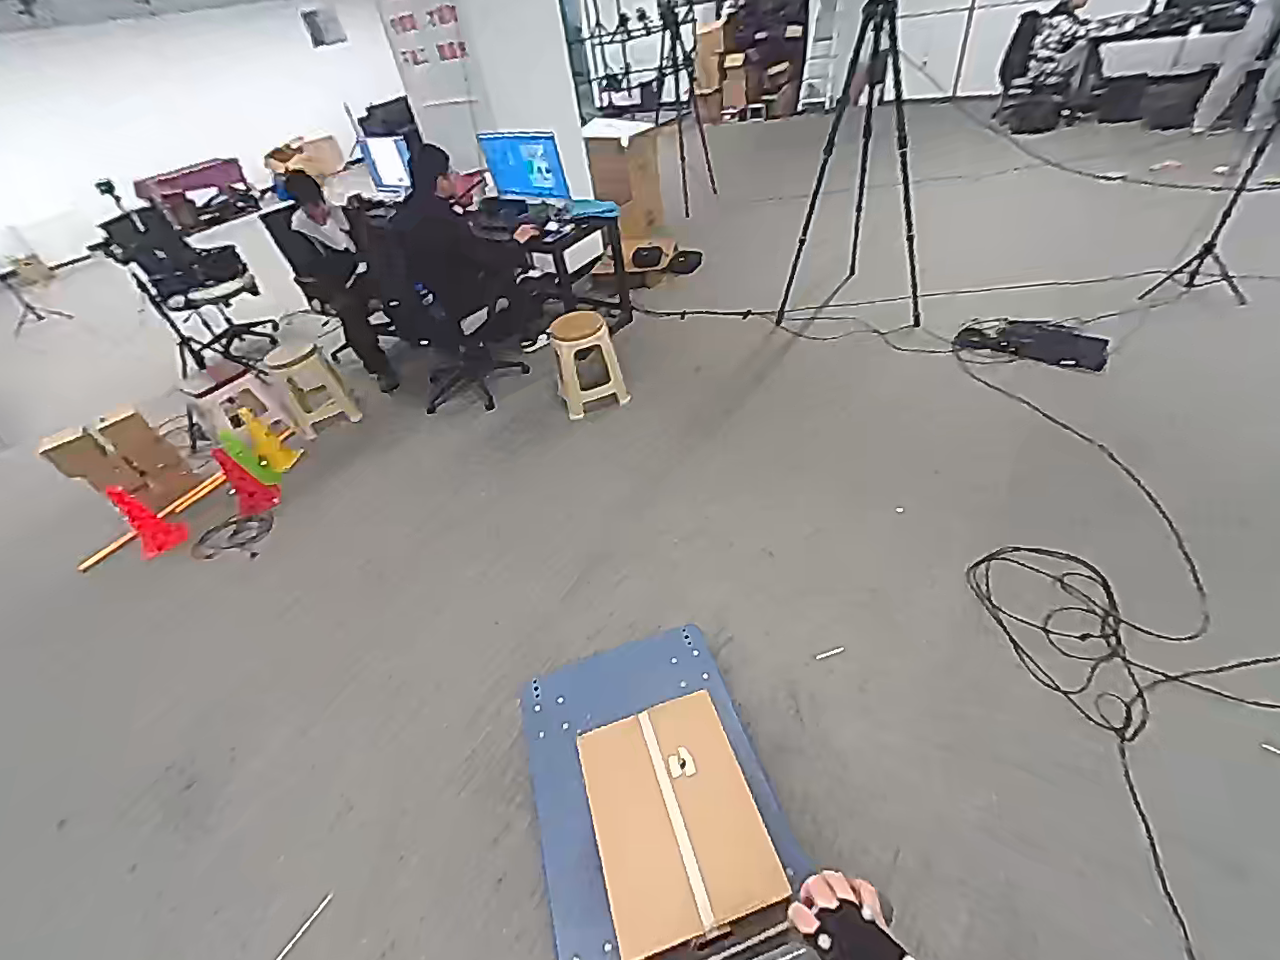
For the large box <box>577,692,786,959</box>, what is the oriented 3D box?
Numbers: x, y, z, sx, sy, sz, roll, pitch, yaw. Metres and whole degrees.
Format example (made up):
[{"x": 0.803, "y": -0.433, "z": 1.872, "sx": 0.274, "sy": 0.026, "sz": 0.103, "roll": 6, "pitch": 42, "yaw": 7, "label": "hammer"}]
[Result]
[{"x": 0.084, "y": 0.762, "z": 1.176, "sx": 0.320, "sy": 0.320, "sz": 0.408, "roll": -17, "pitch": 40, "yaw": -7, "label": "large box"}]
